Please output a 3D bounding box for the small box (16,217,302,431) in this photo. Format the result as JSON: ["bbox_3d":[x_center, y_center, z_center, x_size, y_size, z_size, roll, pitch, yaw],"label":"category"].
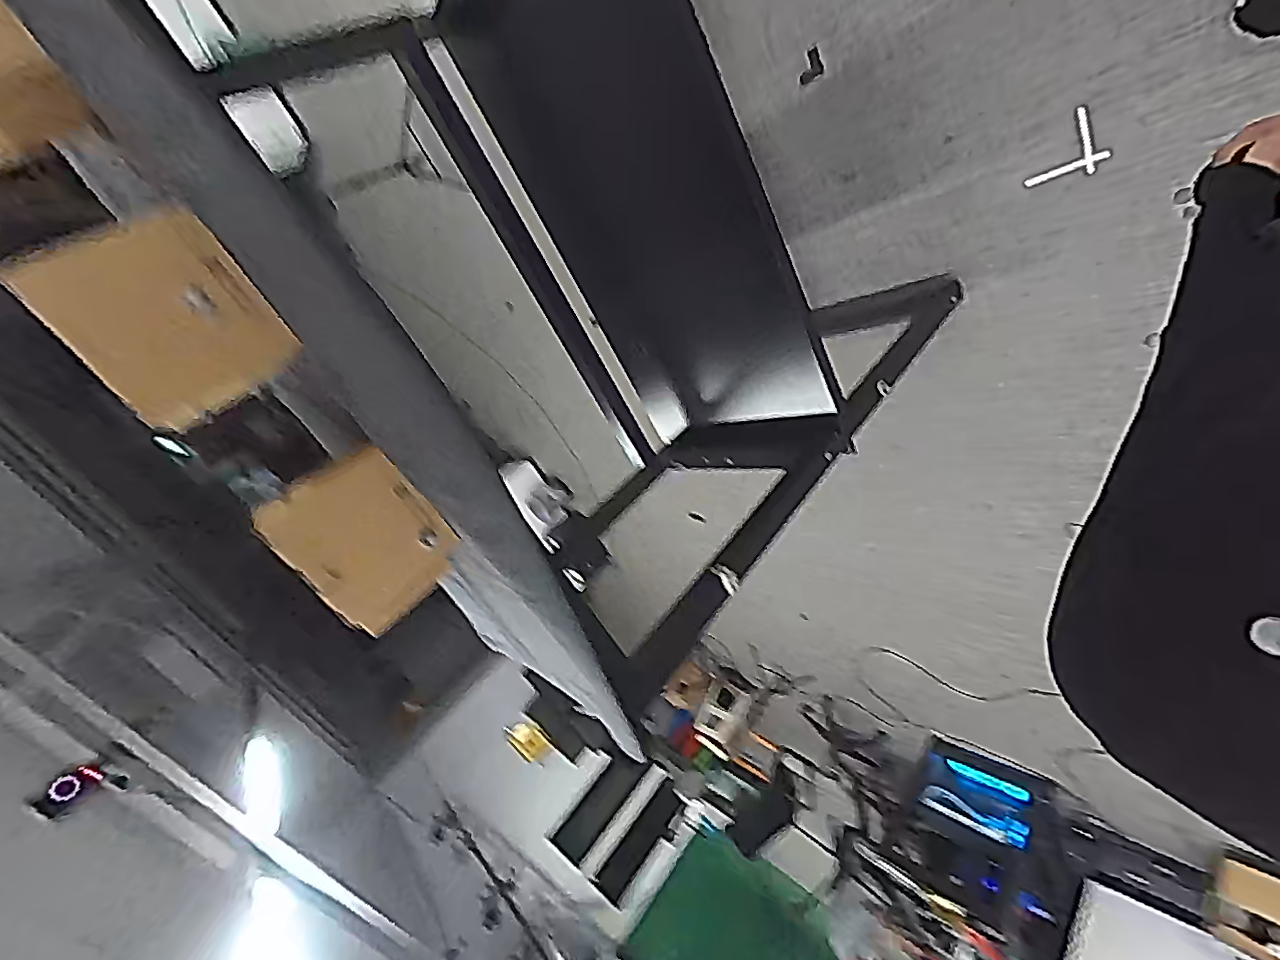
[{"bbox_3d":[-0.528,-0.172,0.627,0.179,0.176,0.168,7,134,53],"label":"small box"}]

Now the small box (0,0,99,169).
[{"bbox_3d":[-0.682,-0.416,0.518,0.179,0.176,0.168,8,135,52],"label":"small box"}]

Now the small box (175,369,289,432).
[{"bbox_3d":[-0.682,-0.191,0.824,0.168,0.176,0.179,6,132,53],"label":"small box"}]

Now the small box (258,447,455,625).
[{"bbox_3d":[-0.386,0.066,0.750,0.179,0.176,0.168,6,132,54],"label":"small box"}]
